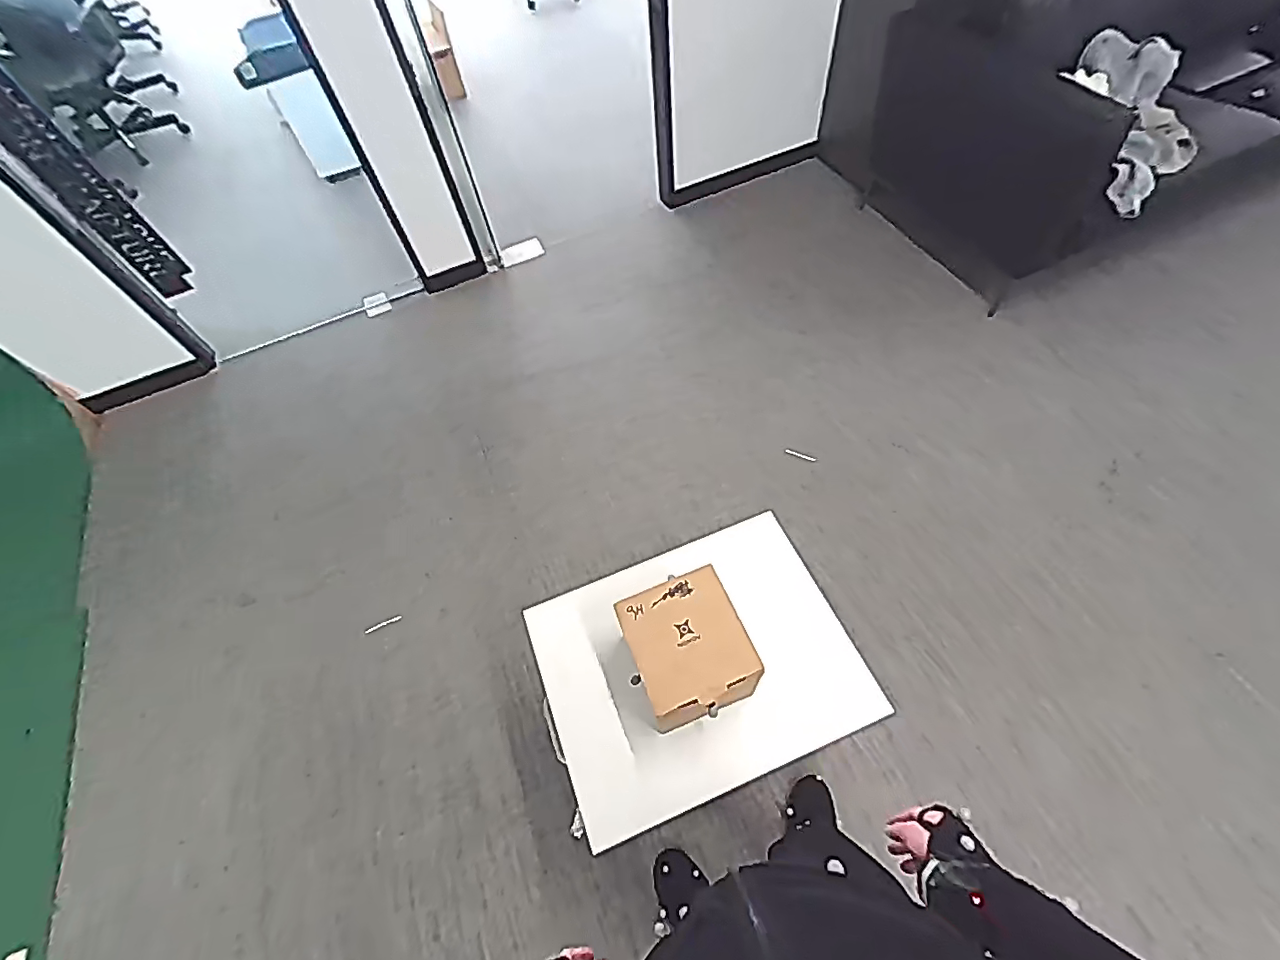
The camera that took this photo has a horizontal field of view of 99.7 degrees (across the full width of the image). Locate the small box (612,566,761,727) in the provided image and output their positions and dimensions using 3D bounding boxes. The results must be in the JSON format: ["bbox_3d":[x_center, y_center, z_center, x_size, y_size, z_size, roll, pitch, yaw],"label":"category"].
[{"bbox_3d":[0.072,0.269,0.850,0.168,0.176,0.179,-23,58,-8],"label":"small box"}]
